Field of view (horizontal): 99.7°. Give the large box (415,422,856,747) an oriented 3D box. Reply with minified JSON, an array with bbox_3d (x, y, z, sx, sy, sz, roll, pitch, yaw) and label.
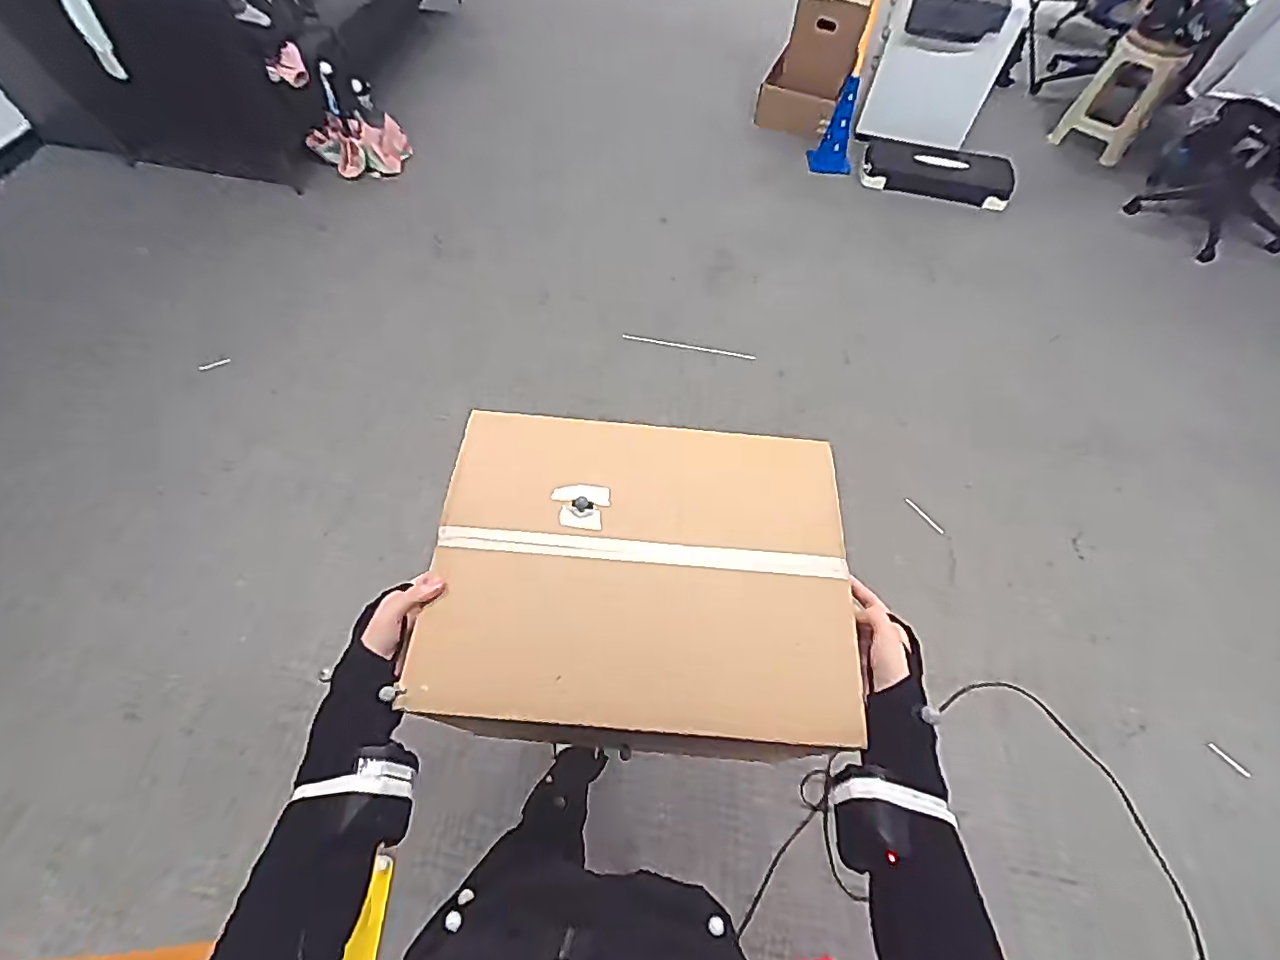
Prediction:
[{"bbox_3d":[0.002,0.150,0.681,0.408,0.320,0.320,5,60,0],"label":"large box"}]
